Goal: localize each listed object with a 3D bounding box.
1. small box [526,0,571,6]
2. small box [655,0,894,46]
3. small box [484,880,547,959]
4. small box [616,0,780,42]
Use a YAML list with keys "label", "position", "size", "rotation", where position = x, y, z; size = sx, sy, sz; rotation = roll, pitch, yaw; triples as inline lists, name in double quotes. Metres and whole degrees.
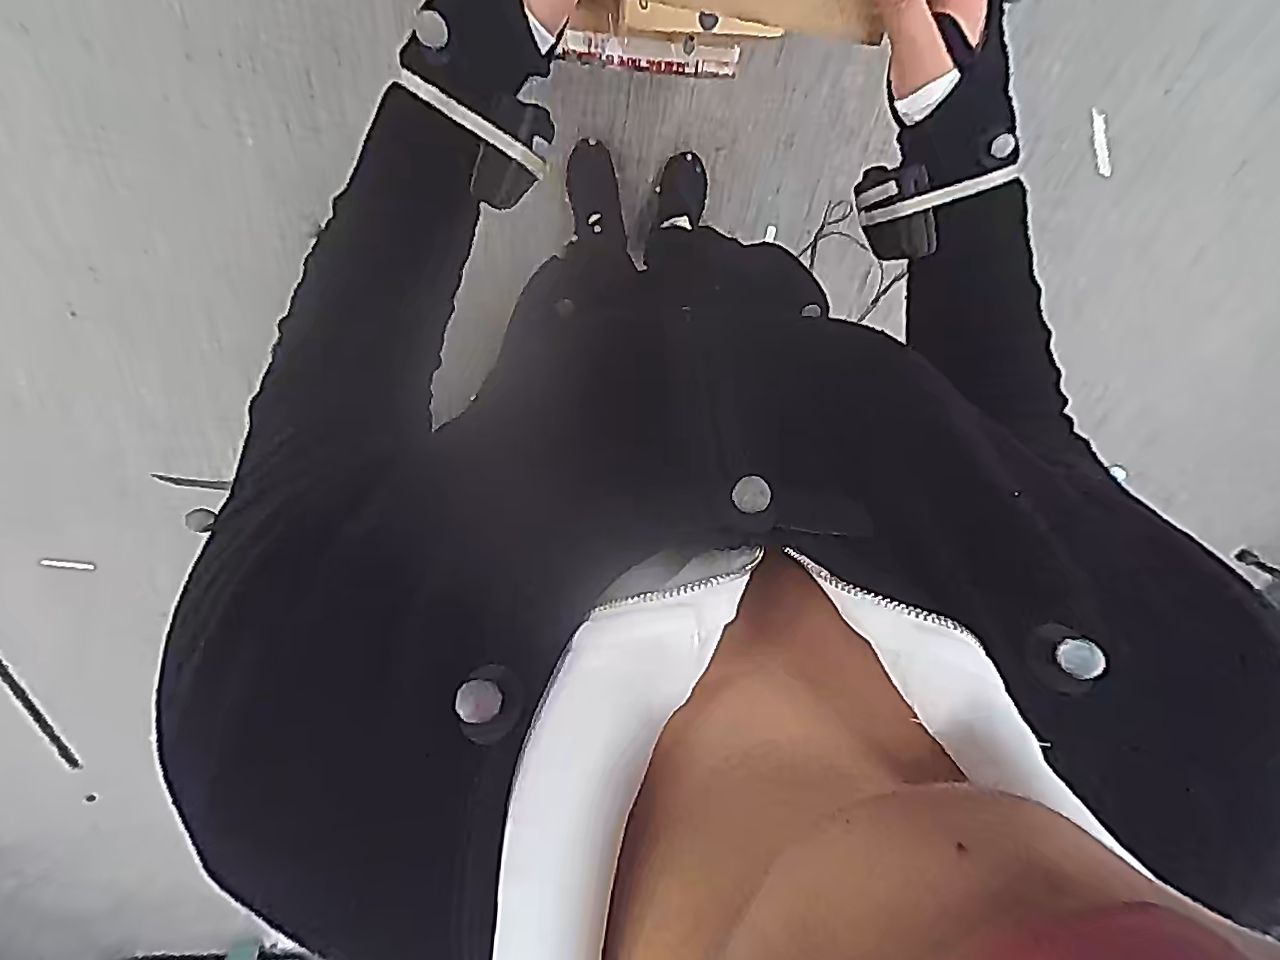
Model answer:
- label: "small box"
  position: [-0.153, -0.630, 0.568]
  size: [0.168, 0.176, 0.179]
  rotation: [5, 129, -5]
- label: "small box"
  position: [0.067, -0.384, 0.309]
  size: [0.179, 0.176, 0.168]
  rotation: [2, 140, -10]
- label: "small box"
  position: [-0.374, 1.334, 1.631]
  size: [0.168, 0.176, 0.179]
  rotation: [6, 125, -8]
- label: "small box"
  position: [0.066, -0.602, 0.604]
  size: [0.179, 0.176, 0.168]
  rotation: [0, 128, -5]
